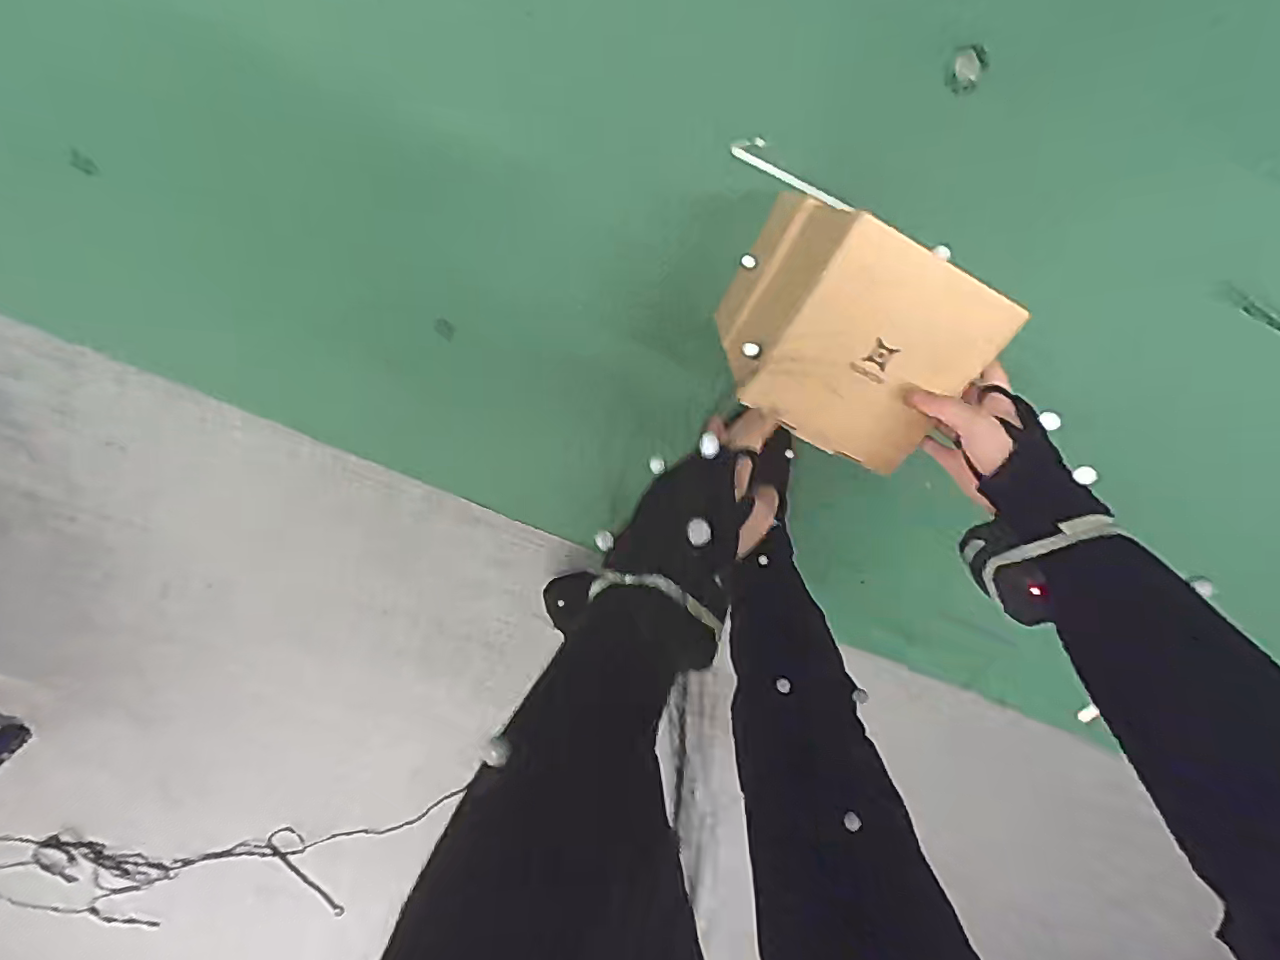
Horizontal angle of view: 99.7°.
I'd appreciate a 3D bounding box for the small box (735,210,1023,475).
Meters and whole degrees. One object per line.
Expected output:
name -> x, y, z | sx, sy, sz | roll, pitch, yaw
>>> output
small box -> 0.204, -0.142, 0.528 | 0.168, 0.176, 0.179 | 25, 118, -9
